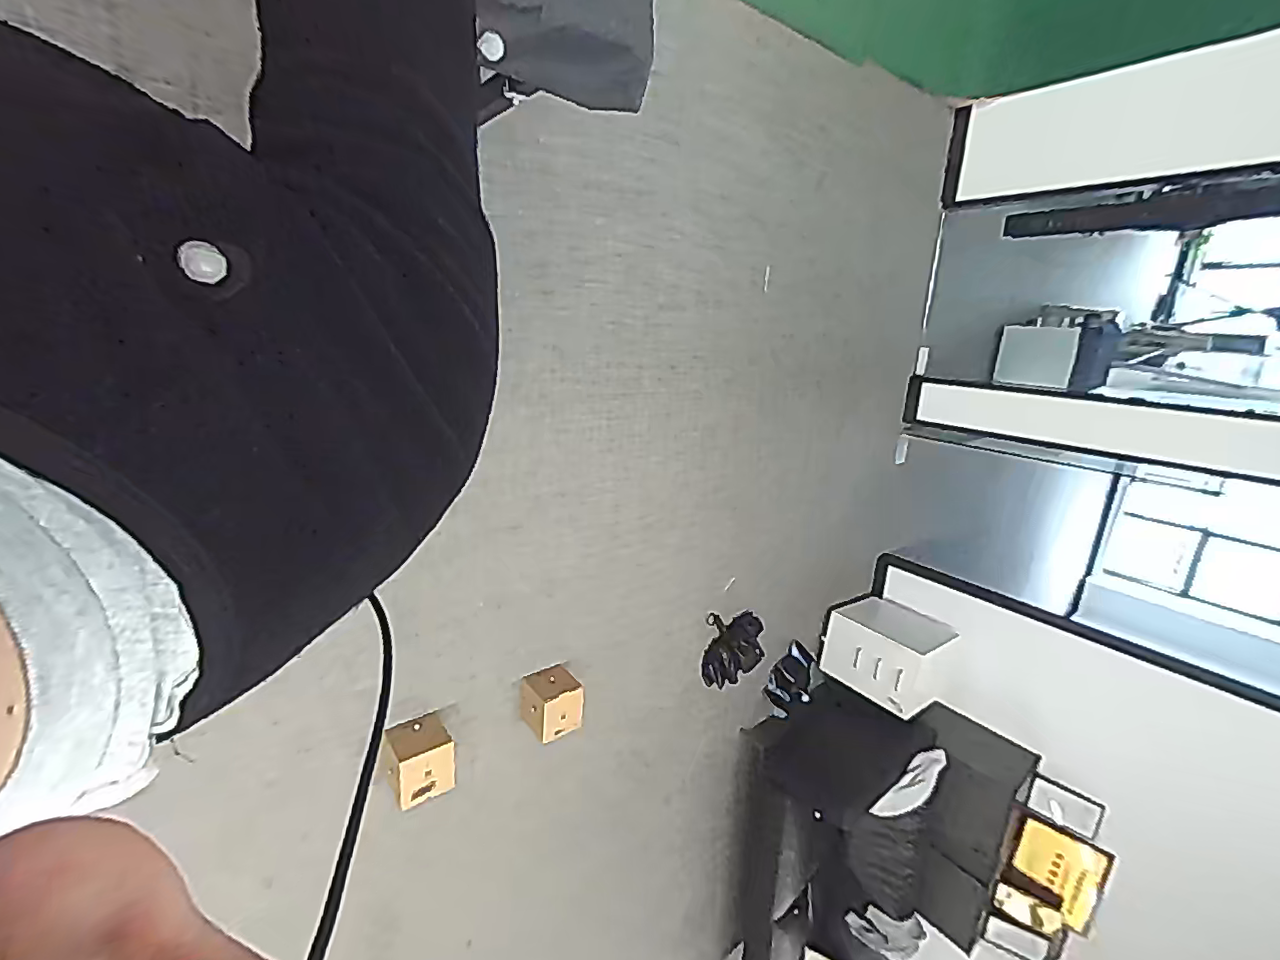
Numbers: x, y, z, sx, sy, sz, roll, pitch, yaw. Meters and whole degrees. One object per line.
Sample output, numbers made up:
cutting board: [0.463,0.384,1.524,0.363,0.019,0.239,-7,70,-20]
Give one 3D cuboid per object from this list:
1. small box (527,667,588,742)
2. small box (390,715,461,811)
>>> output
small box: [-0.308,0.816,1.996,0.168,0.176,0.179,-9,109,-39]
small box: [-0.675,0.880,1.698,0.168,0.176,0.179,-9,108,-40]
